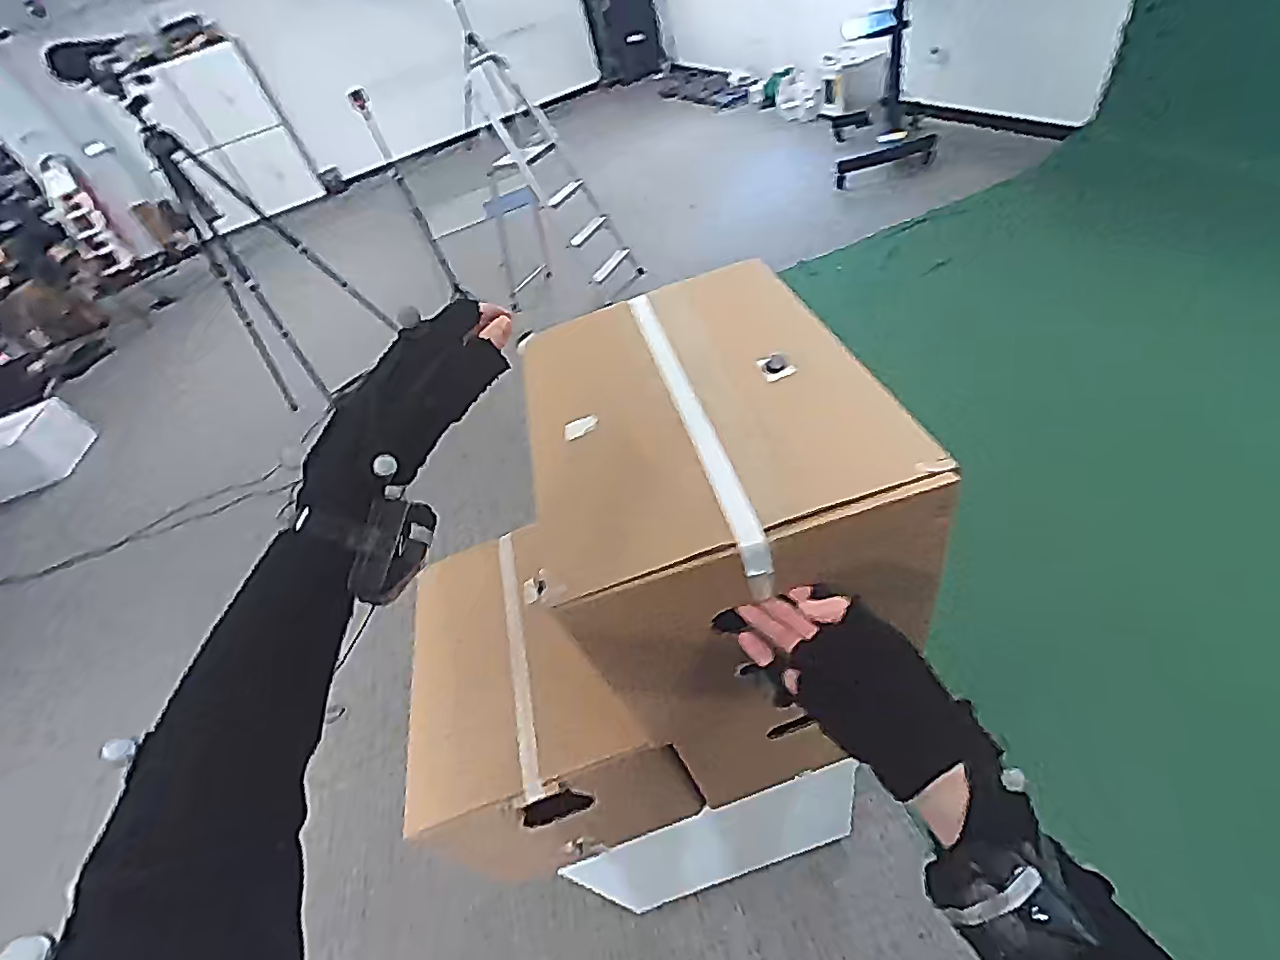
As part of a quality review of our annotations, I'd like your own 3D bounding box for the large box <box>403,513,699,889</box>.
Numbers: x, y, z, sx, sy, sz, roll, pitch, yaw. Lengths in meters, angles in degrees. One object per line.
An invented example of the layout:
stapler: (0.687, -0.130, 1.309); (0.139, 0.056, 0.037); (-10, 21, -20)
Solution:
large box: (-0.138, 0.334, 0.856); (0.320, 0.320, 0.408); (-21, 42, -1)
